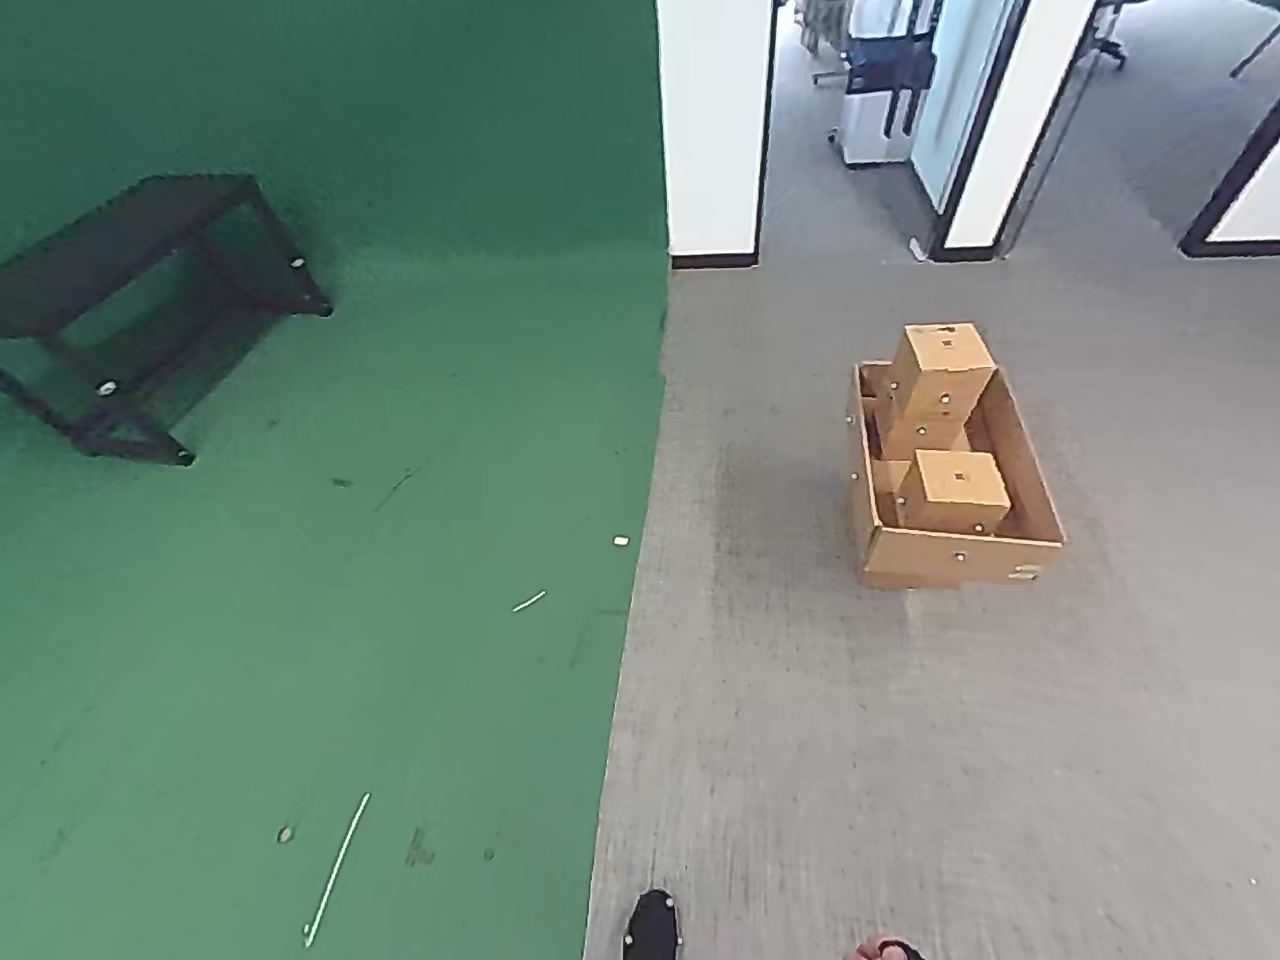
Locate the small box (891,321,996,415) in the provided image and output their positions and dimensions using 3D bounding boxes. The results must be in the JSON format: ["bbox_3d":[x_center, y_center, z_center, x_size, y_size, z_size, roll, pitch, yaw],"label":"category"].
[{"bbox_3d":[0.752,-0.276,1.361,0.168,0.176,0.179,0,52,7],"label":"small box"}]
